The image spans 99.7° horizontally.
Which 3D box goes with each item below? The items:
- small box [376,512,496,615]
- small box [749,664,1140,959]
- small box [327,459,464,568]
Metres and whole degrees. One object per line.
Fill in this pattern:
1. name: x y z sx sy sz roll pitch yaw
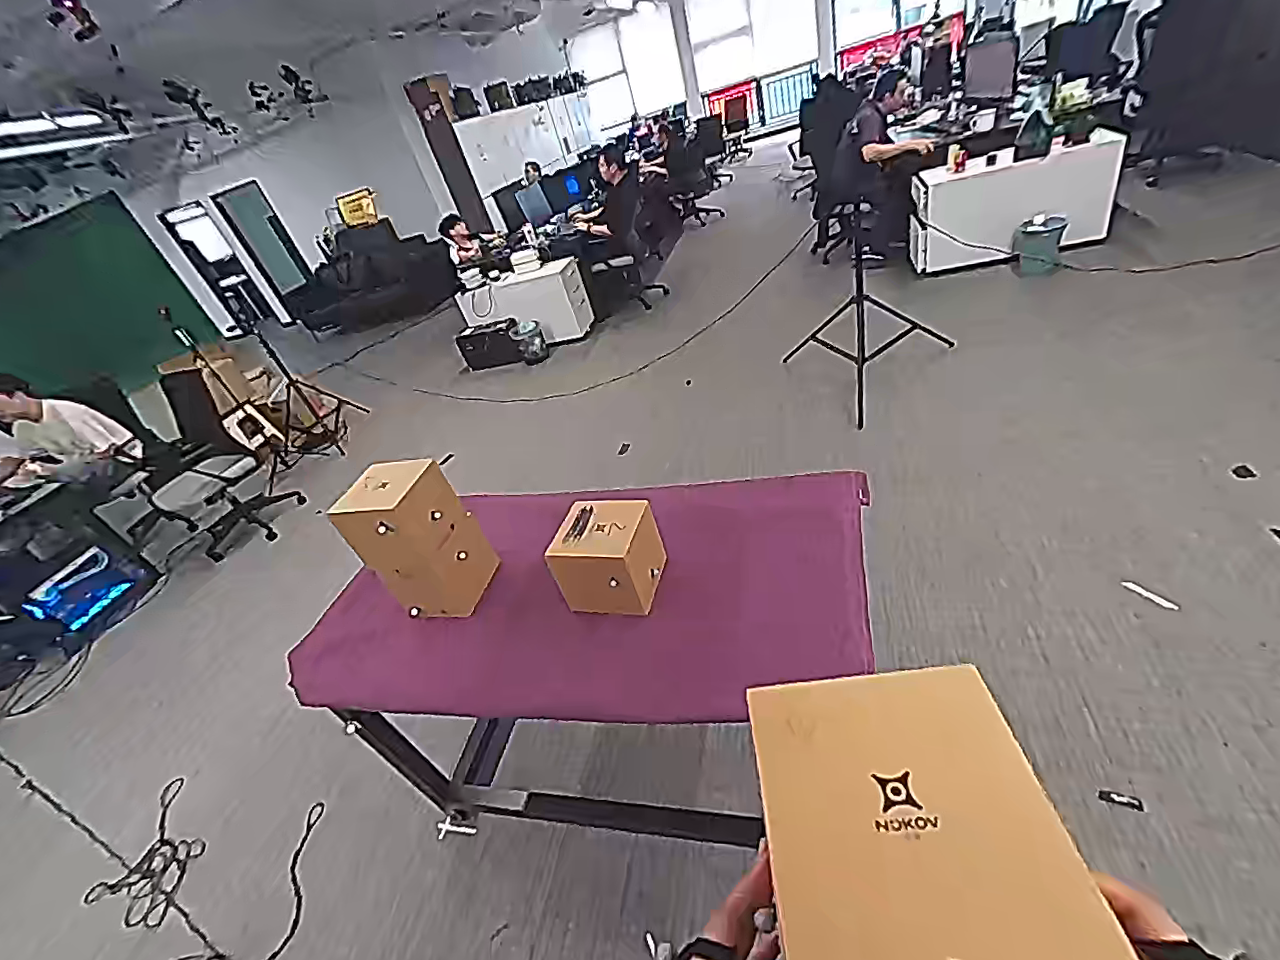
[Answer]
1. small box: -0.464 0.197 1.264 0.168 0.176 0.179 -4 37 20
2. small box: 0.174 0.258 0.374 0.168 0.176 0.179 -10 34 8
3. small box: -0.512 0.075 1.164 0.179 0.176 0.168 -5 37 19
